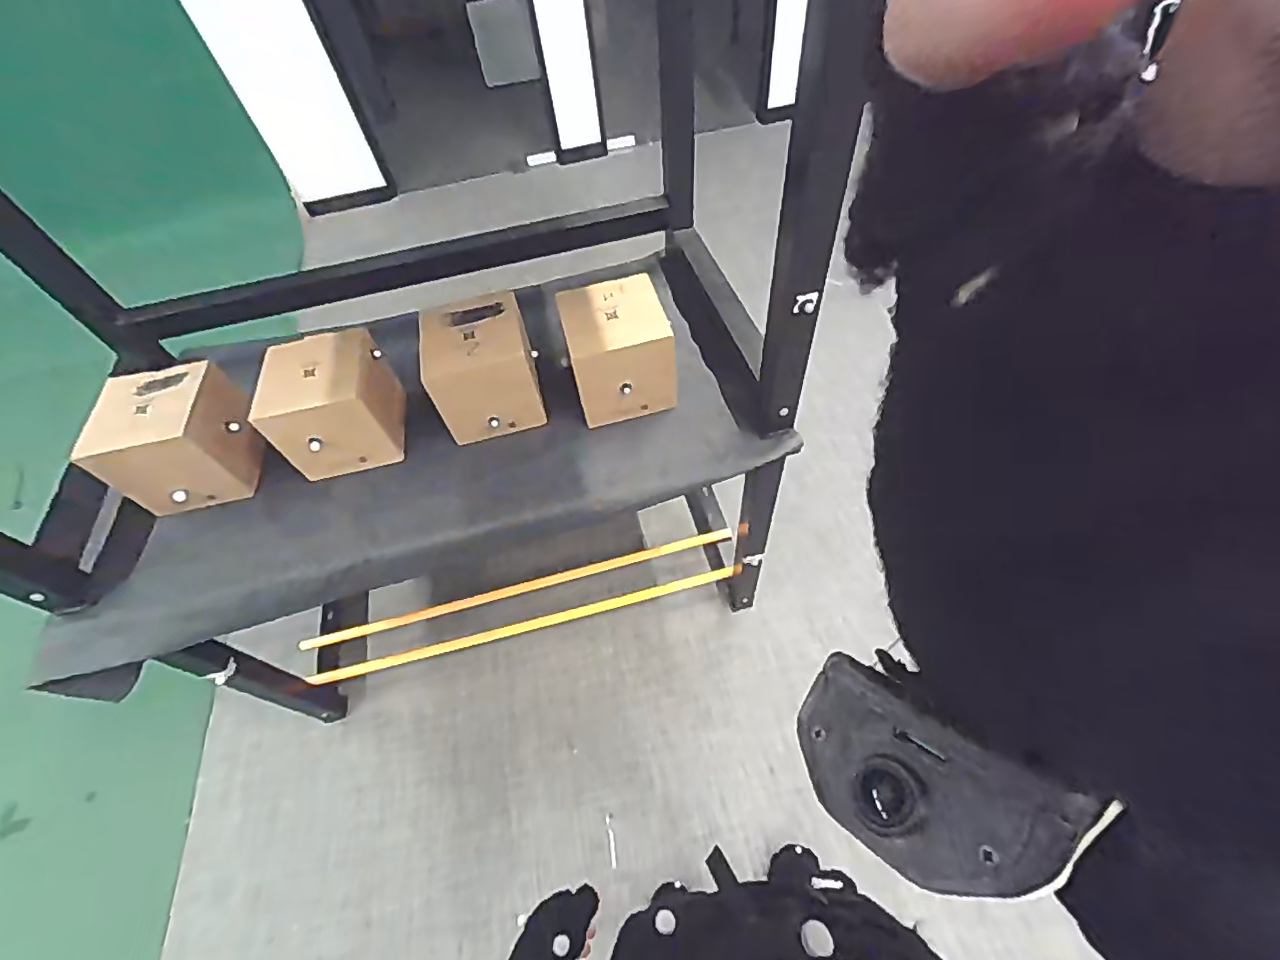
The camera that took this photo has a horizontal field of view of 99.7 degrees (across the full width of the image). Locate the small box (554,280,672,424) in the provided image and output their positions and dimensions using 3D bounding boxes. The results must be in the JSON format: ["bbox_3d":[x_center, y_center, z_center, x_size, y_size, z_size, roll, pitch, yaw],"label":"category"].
[{"bbox_3d":[-0.043,-0.216,0.951,0.168,0.176,0.179,-14,54,-4],"label":"small box"}]

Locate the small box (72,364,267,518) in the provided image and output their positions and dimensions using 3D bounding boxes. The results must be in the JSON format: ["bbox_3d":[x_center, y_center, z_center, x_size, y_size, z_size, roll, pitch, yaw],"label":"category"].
[{"bbox_3d":[-0.769,-0.063,0.912,0.168,0.176,0.179,-13,55,-4],"label":"small box"}]

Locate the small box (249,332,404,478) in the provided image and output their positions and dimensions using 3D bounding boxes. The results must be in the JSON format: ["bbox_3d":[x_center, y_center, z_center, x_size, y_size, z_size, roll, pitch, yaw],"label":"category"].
[{"bbox_3d":[-0.523,-0.121,0.933,0.168,0.176,0.179,-13,54,-4],"label":"small box"}]
